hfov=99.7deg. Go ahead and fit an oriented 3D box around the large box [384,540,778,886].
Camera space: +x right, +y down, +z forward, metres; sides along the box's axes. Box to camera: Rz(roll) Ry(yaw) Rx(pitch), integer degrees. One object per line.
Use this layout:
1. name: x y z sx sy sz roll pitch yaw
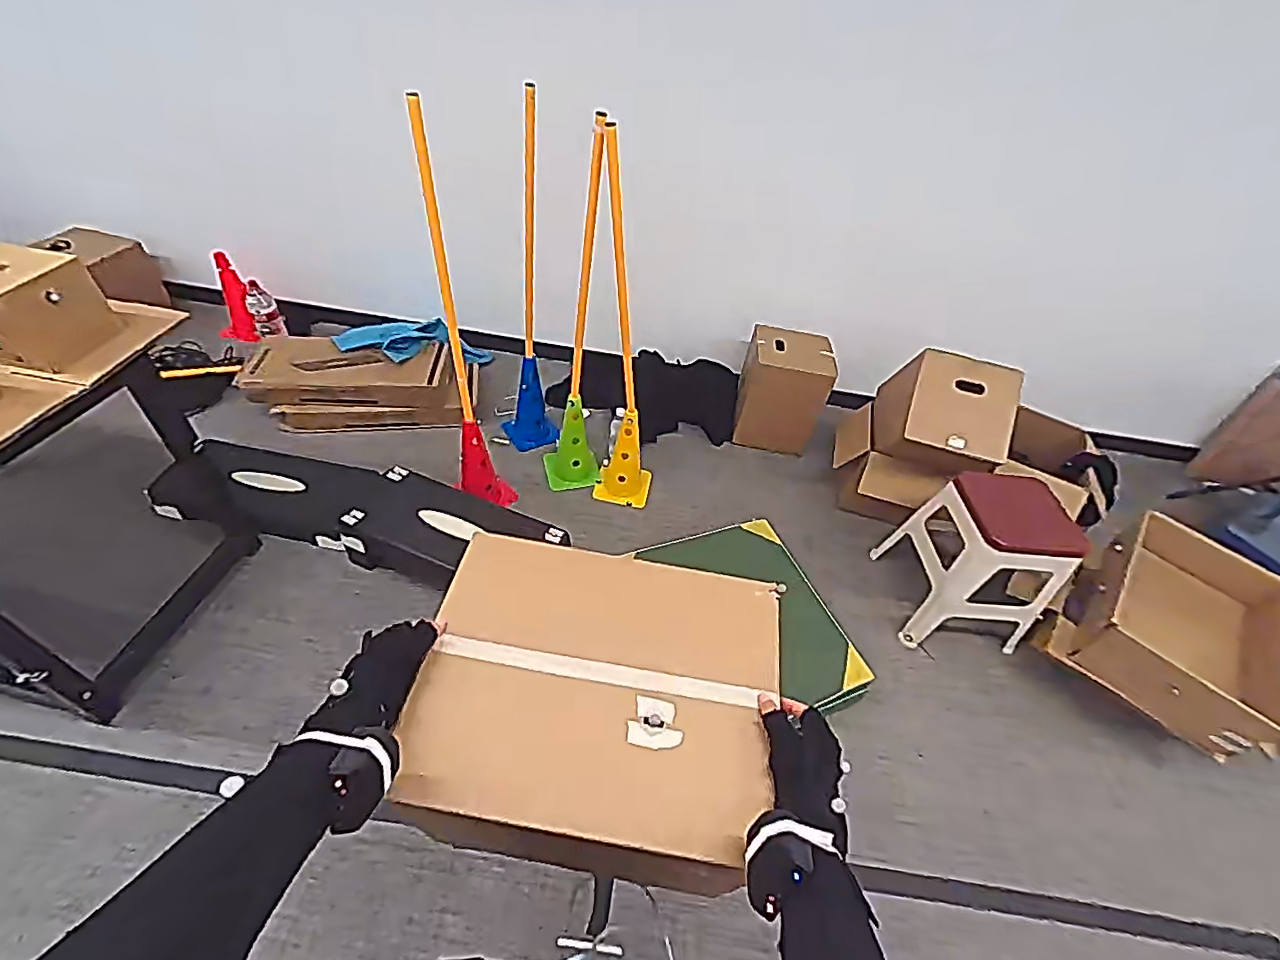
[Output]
1. large box: -0.055 0.321 0.738 0.408 0.320 0.320 10 50 2
